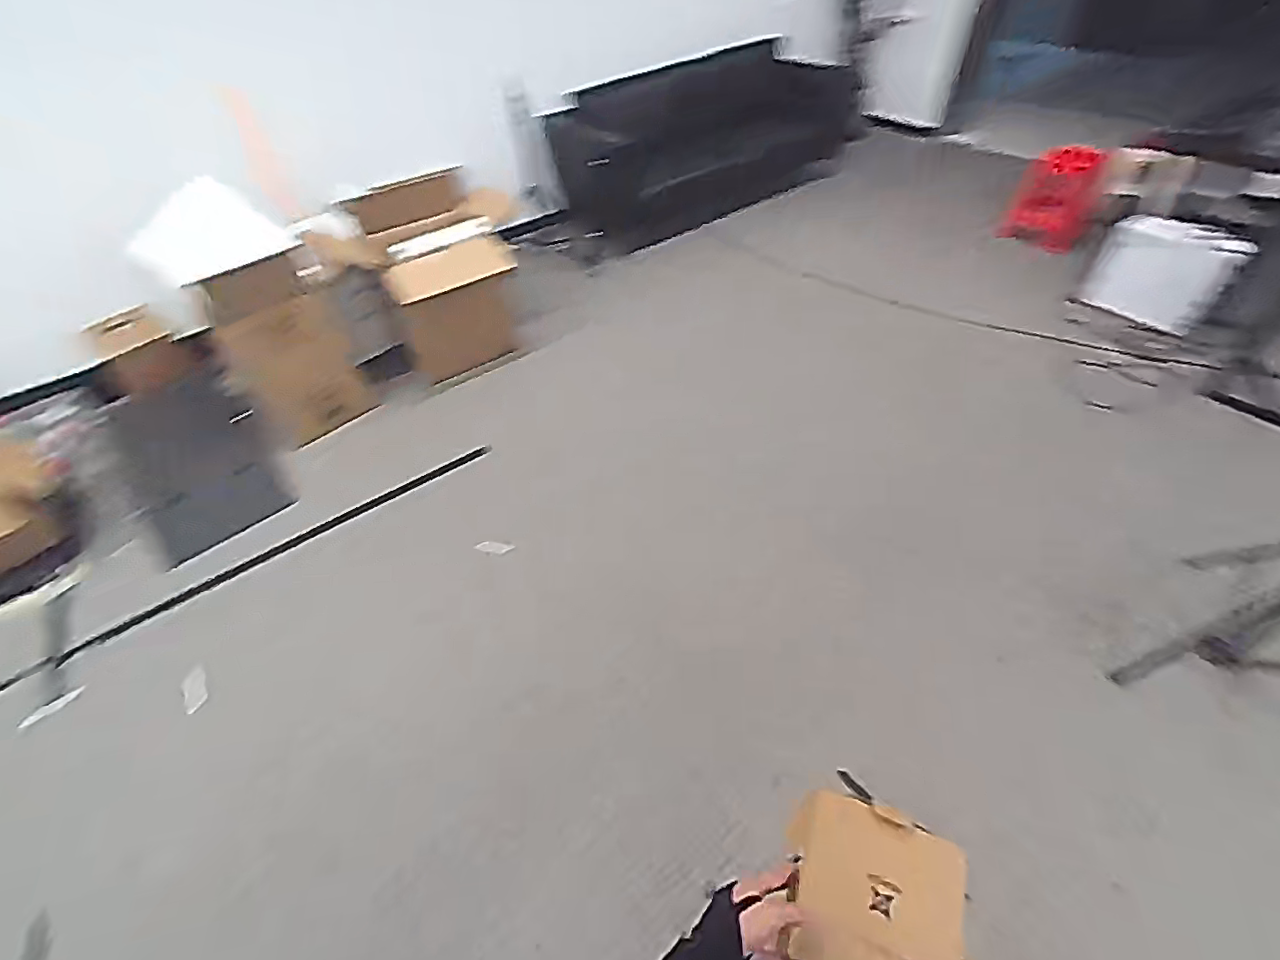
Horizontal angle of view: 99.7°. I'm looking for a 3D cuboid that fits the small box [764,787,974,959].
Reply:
[{"bbox_3d":[0.254,0.495,0.618,0.168,0.176,0.179,20,50,14],"label":"small box"}]
